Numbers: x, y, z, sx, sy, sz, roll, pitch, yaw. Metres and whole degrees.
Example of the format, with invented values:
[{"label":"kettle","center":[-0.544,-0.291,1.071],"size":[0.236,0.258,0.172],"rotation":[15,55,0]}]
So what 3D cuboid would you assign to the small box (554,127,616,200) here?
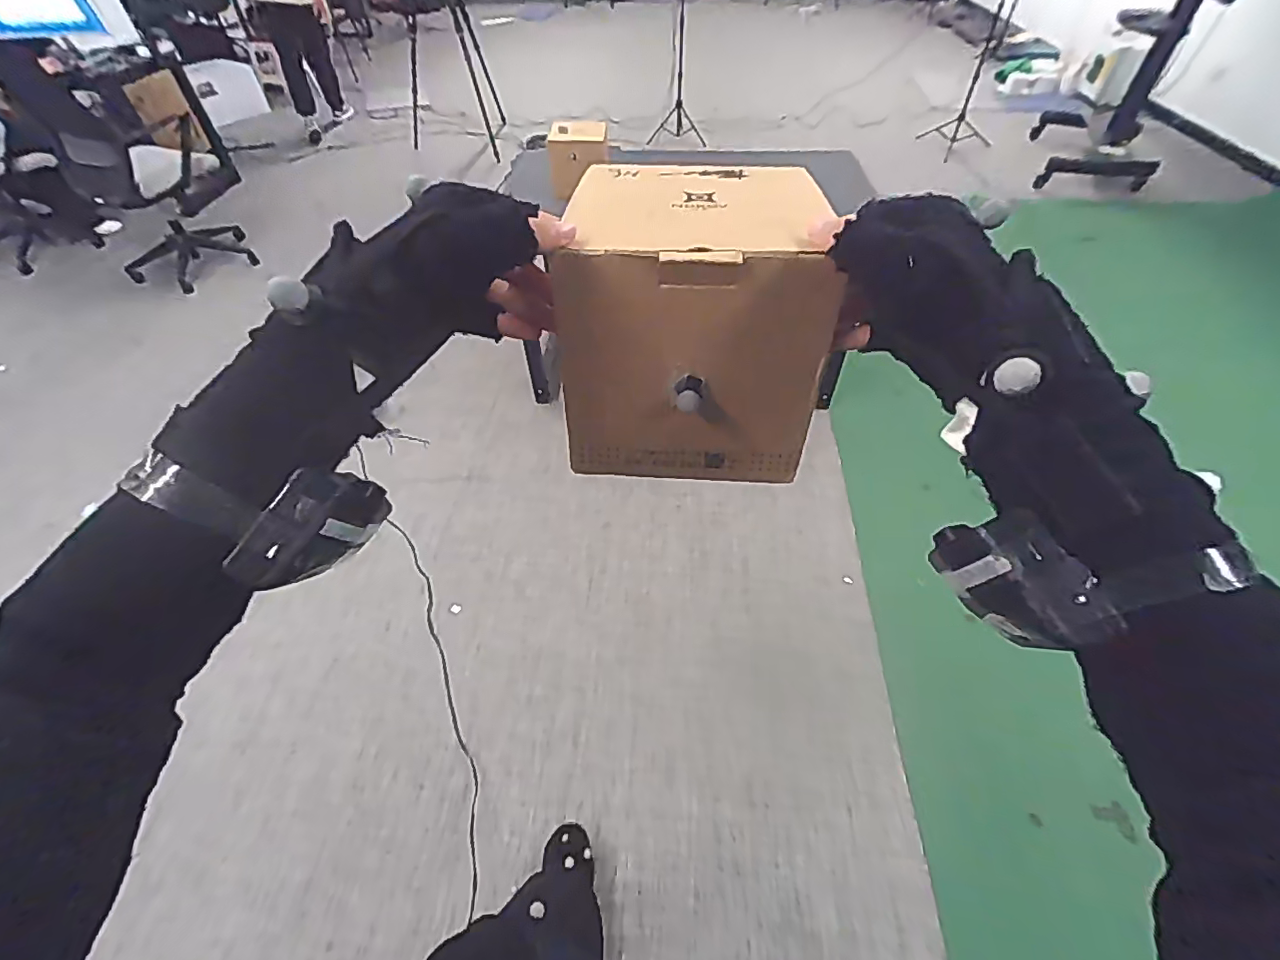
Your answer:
[{"label":"small box","center":[-0.170,-1.017,1.745],"size":[0.179,0.176,0.168],"rotation":[1,49,1]}]

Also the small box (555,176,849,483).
[{"label":"small box","center":[0.041,-0.114,0.410],"size":[0.168,0.176,0.179],"rotation":[3,44,3]}]
